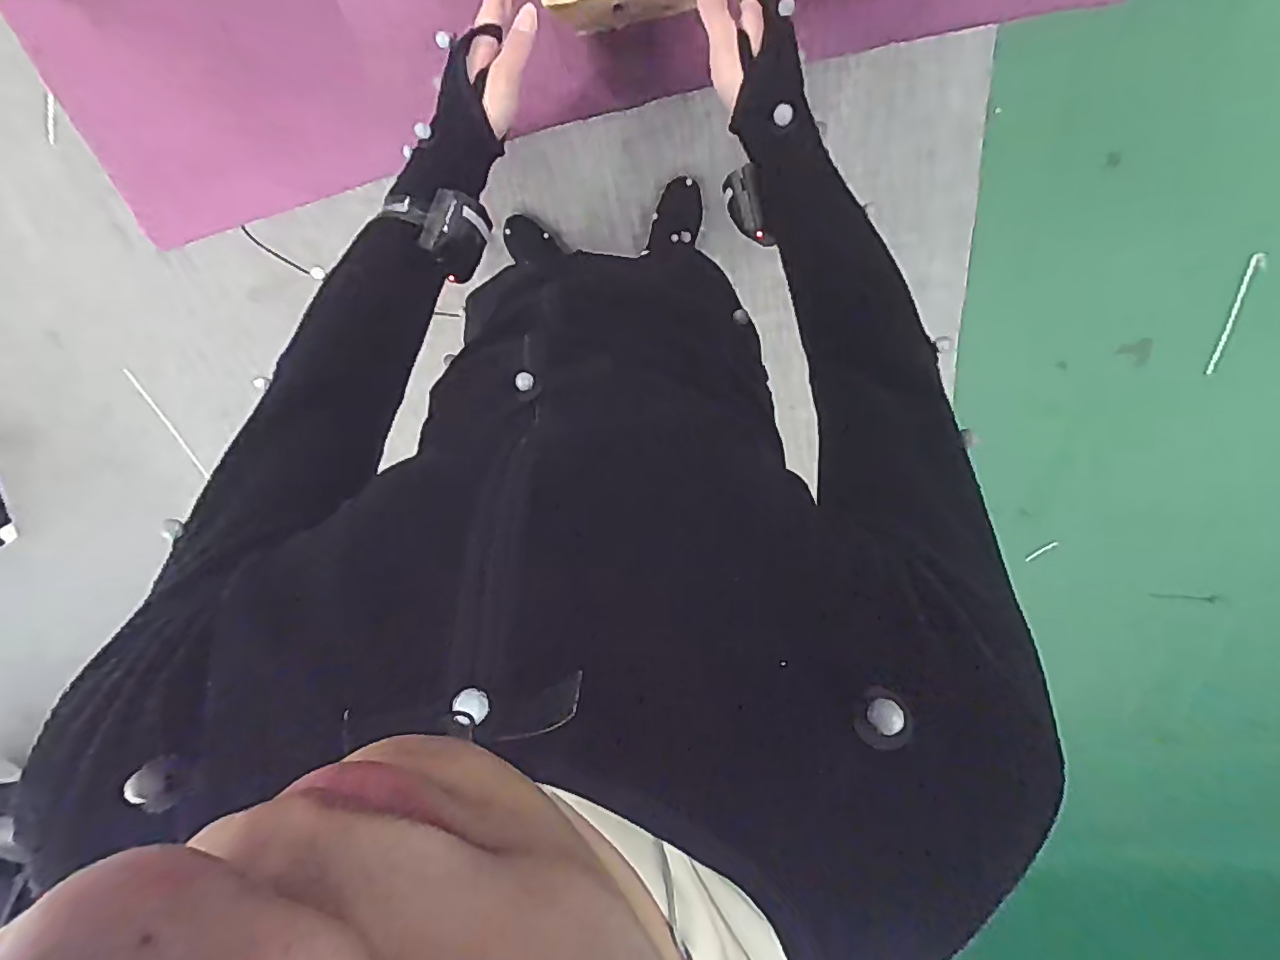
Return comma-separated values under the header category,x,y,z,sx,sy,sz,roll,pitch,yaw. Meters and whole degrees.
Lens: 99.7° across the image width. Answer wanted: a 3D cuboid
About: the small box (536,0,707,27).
category,x,y,z,sx,sy,sz,roll,pitch,yaw
small box,-0.017,-0.537,0.485,0.168,0.176,0.179,-6,121,10
